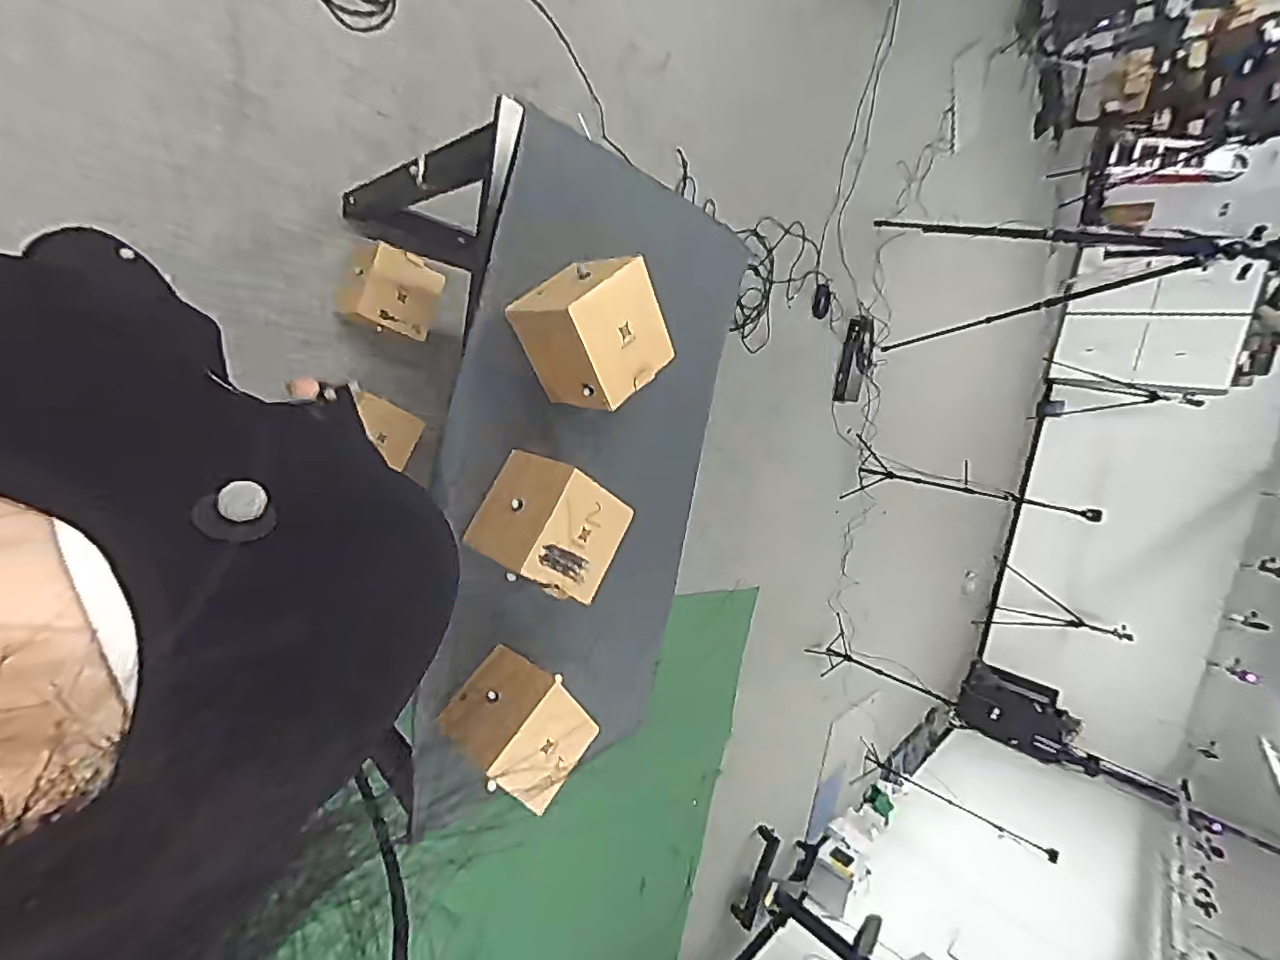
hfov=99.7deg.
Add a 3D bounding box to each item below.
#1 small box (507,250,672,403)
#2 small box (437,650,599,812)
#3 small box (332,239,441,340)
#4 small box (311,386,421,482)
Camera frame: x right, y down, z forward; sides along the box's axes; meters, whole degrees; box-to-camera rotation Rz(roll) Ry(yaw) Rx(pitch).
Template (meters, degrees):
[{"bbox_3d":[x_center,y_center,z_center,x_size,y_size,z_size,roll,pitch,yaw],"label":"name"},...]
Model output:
[{"bbox_3d":[-0.081,-0.245,0.870,0.168,0.176,0.179,-46,131,-27],"label":"small box"},{"bbox_3d":[-0.208,0.416,0.926,0.168,0.176,0.179,-49,133,-28],"label":"small box"},{"bbox_3d":[-0.621,-0.456,1.317,0.168,0.176,0.179,20,86,-47],"label":"small box"},{"bbox_3d":[-0.688,-0.117,1.348,0.168,0.176,0.179,32,77,-47],"label":"small box"}]
